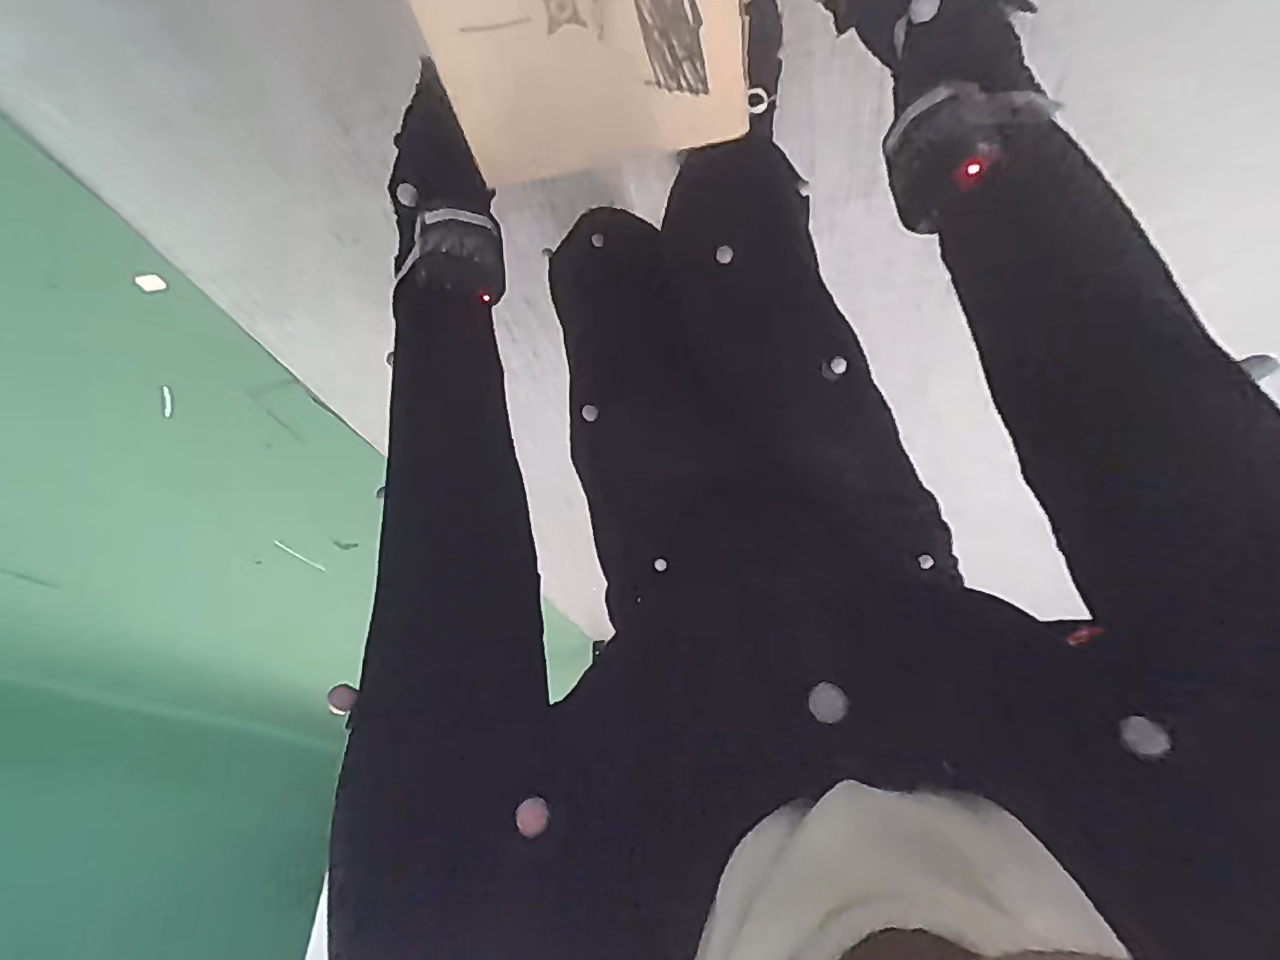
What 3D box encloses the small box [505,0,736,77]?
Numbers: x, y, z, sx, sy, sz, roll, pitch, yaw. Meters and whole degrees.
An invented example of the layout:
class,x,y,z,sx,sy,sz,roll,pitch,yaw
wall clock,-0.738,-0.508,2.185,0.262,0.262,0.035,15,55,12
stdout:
class,x,y,z,sx,sy,sz,roll,pitch,yaw
small box,-0.026,-0.459,0.419,0.179,0.176,0.168,-7,146,9
